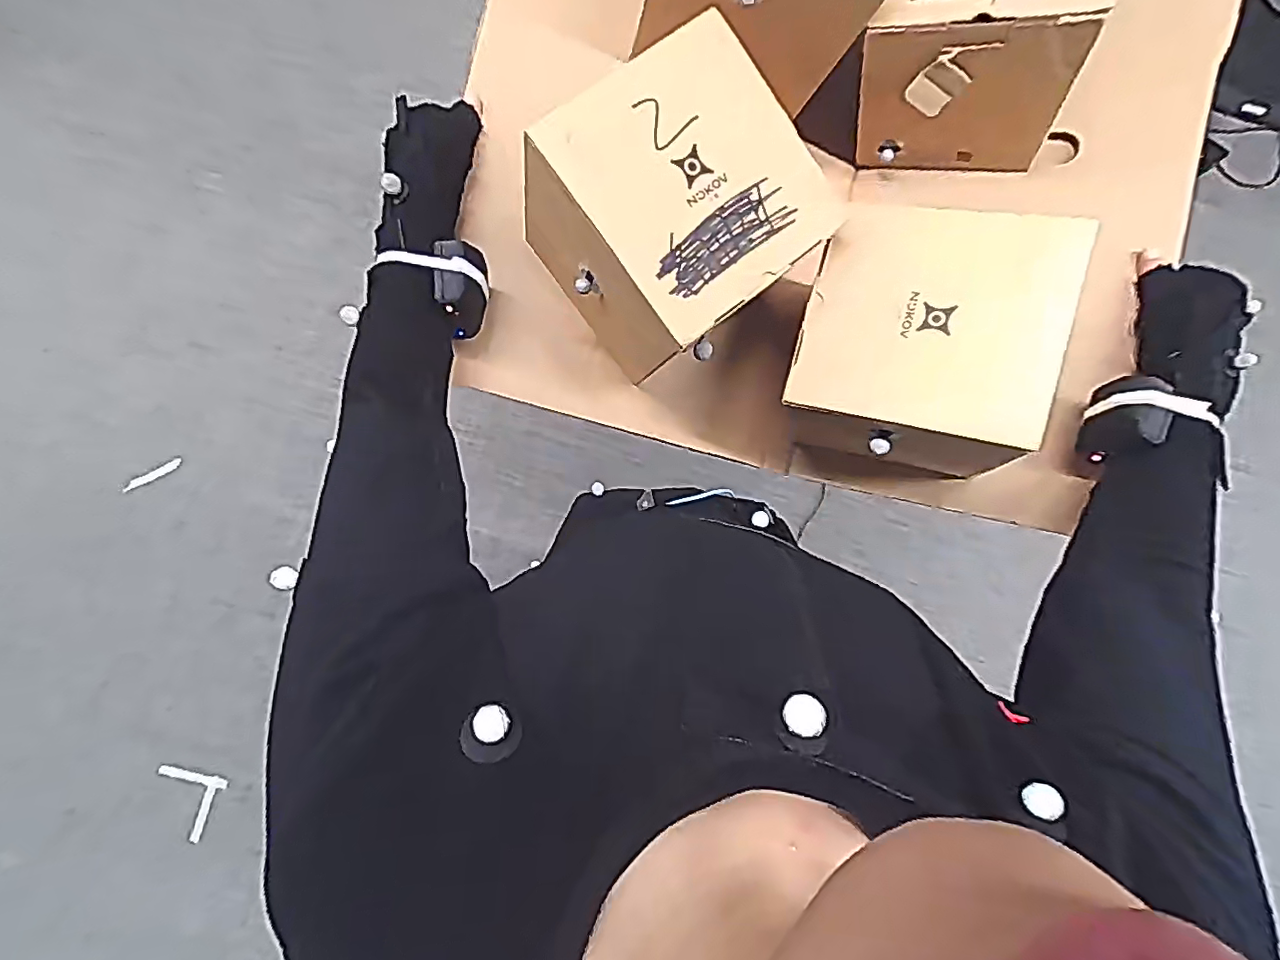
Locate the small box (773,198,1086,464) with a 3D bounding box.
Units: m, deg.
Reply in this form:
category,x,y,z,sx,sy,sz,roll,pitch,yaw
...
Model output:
category,x,y,z,sx,sy,sz,roll,pitch,yaw
small box,0.232,-0.115,0.473,0.179,0.176,0.168,16,90,21
